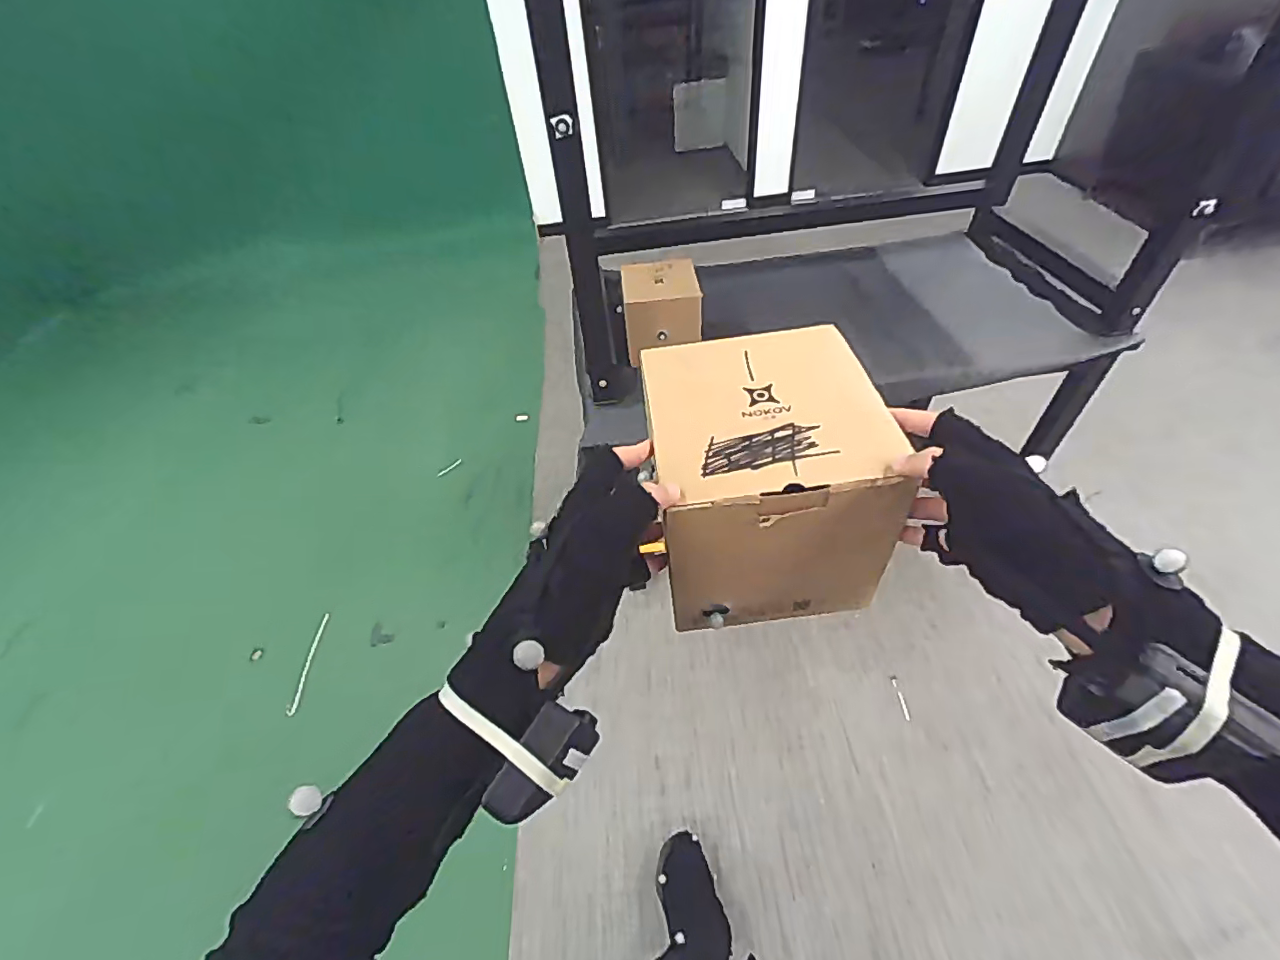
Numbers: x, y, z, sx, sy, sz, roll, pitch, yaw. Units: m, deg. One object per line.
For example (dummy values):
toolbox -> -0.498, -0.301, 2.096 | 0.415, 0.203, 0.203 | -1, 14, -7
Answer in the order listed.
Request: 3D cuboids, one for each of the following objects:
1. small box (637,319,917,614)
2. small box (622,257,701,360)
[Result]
small box -> 0.092, -0.004, 0.444 | 0.168, 0.176, 0.179 | -7, 47, 1
small box -> 0.050, -0.387, 1.244 | 0.168, 0.176, 0.179 | -5, 47, 0
